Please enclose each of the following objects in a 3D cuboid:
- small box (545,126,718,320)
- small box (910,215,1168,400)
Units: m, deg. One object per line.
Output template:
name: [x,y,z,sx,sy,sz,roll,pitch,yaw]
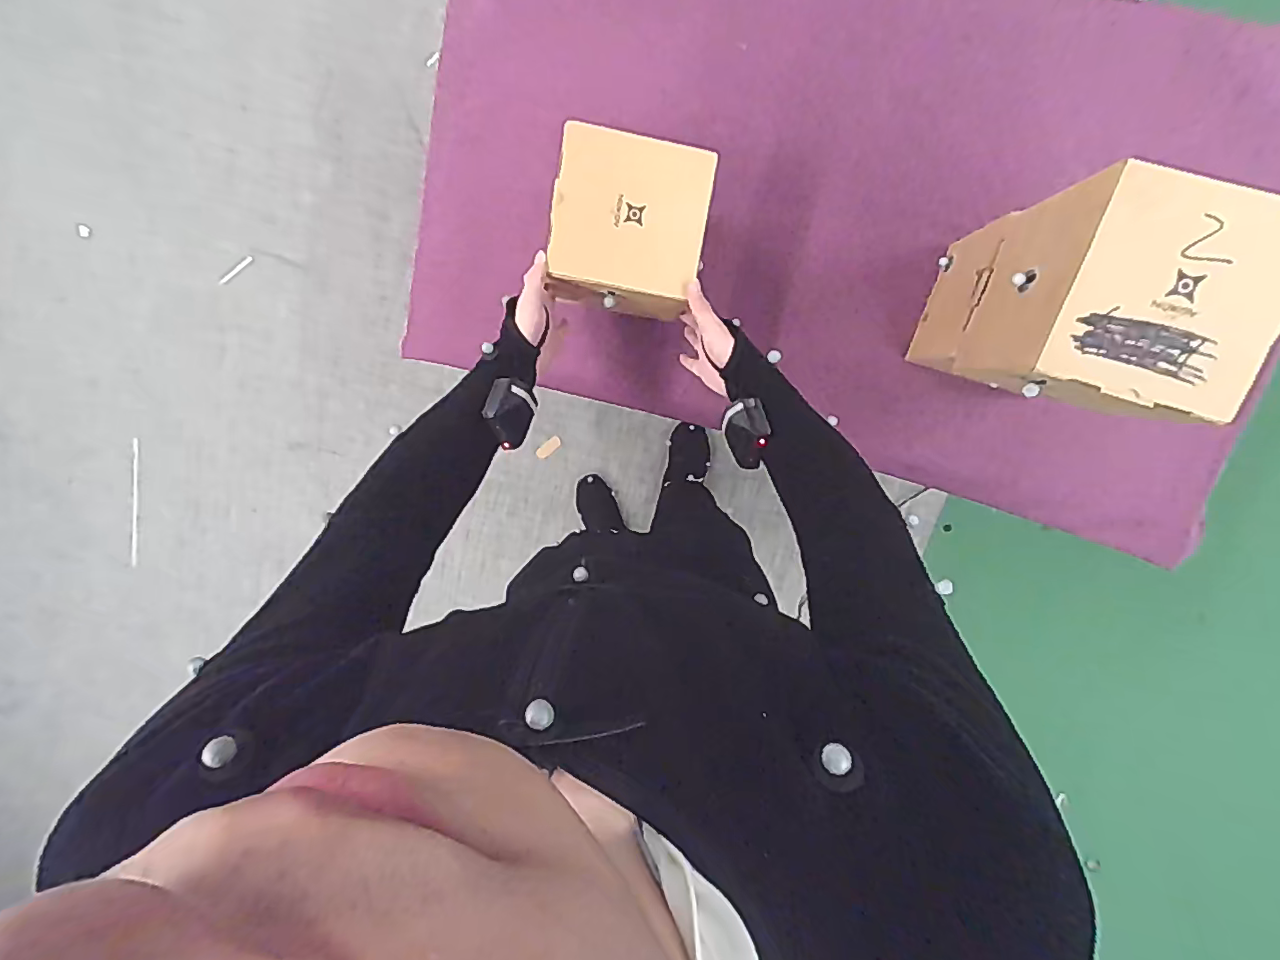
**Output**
small box: [-0.016,-0.309,0.690,0.179,0.176,0.168,9,97,-5]
small box: [0.476,-0.206,0.683,0.179,0.176,0.168,17,103,3]
